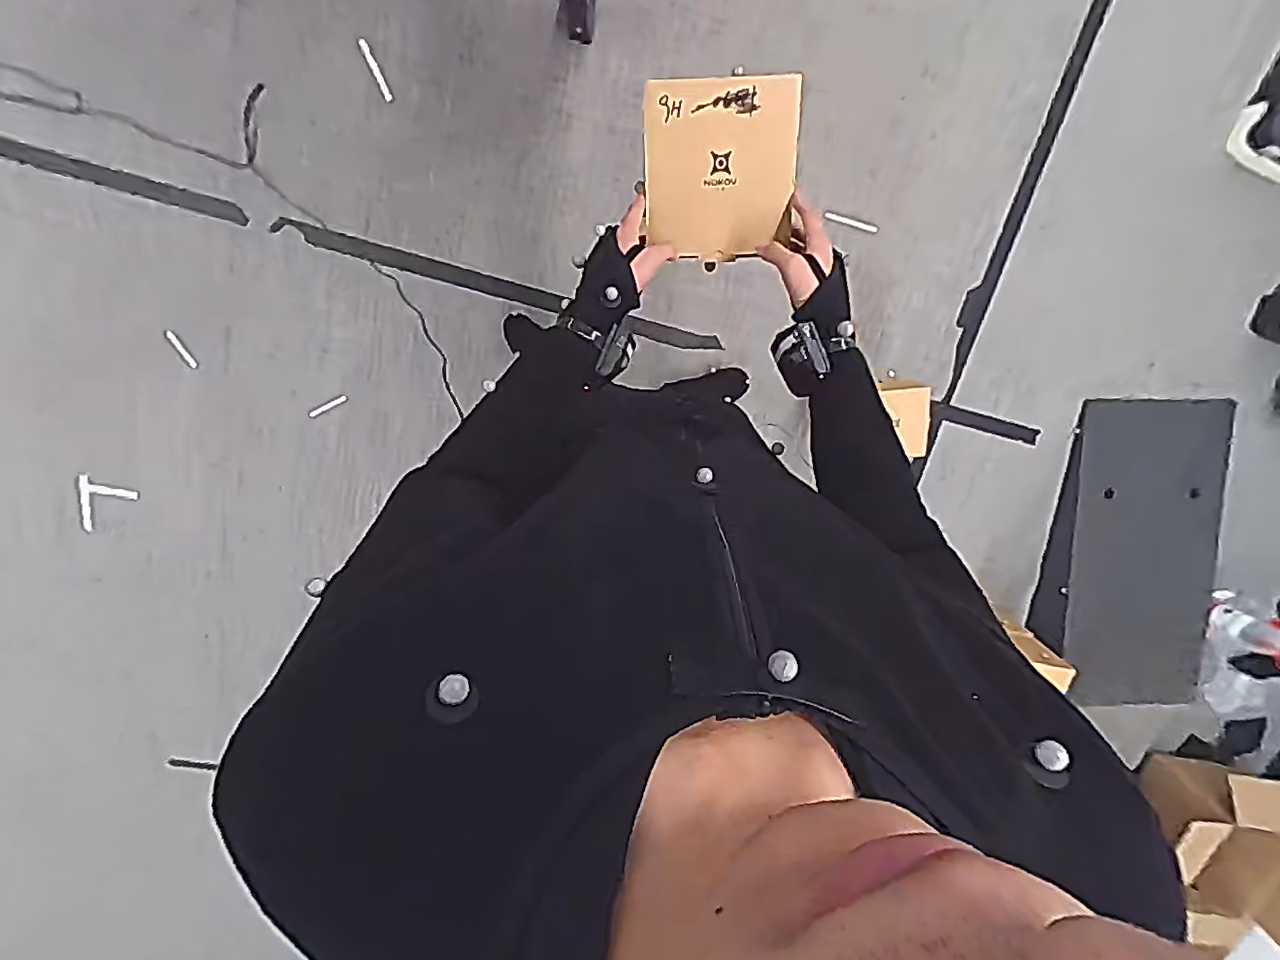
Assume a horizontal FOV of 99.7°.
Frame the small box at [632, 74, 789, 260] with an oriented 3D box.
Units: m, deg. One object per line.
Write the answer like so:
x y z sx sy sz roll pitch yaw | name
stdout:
0.078 -0.372 0.668 0.168 0.176 0.179 -1 113 2 | small box
